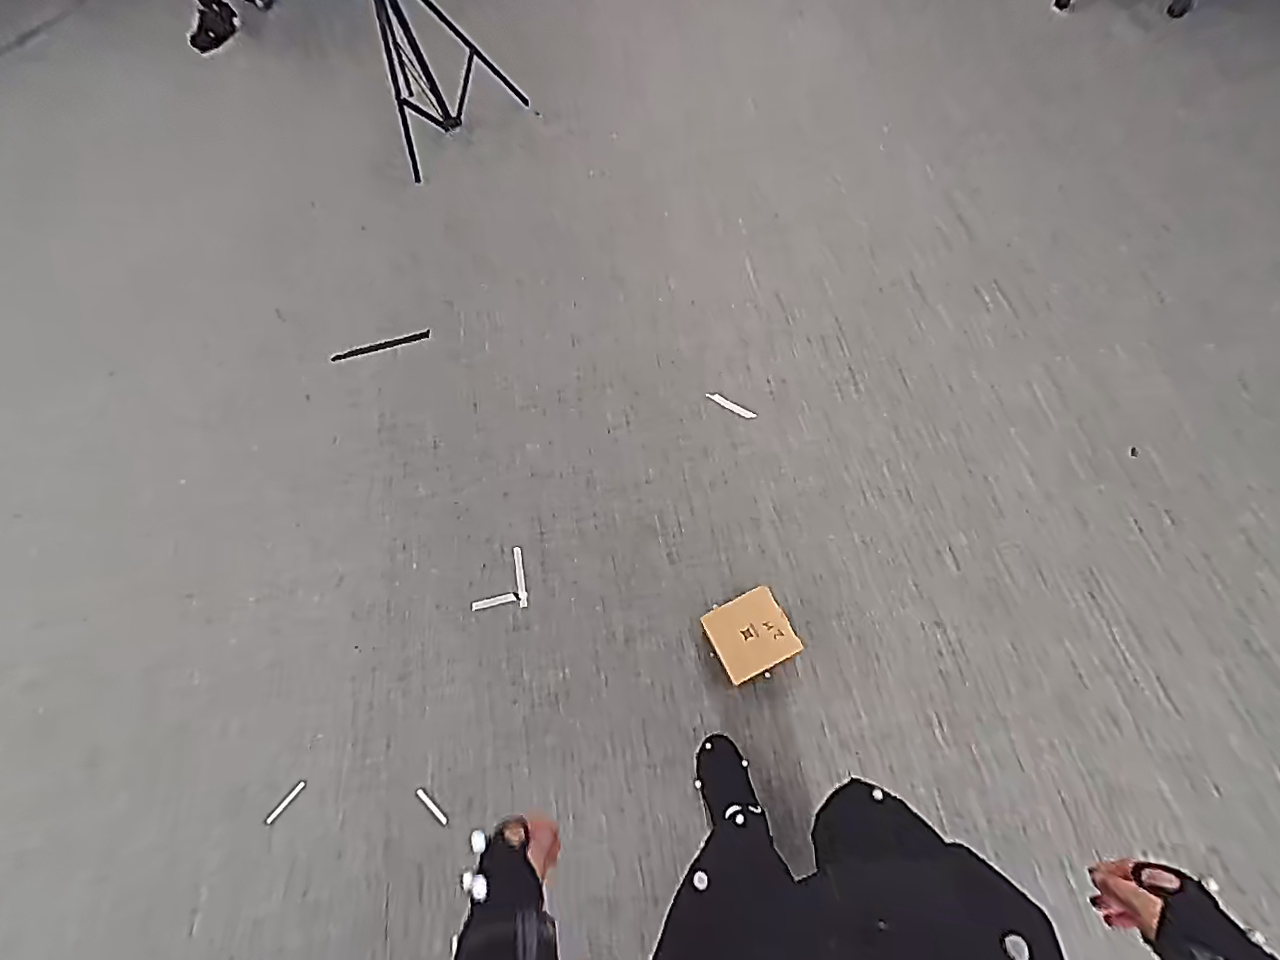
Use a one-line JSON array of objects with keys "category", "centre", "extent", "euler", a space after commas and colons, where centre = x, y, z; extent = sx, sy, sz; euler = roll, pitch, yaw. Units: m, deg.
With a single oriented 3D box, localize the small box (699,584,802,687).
[{"category": "small box", "centre": [0.257, 0.374, 1.278], "extent": [0.179, 0.176, 0.168], "euler": [-27, 65, -3]}]
